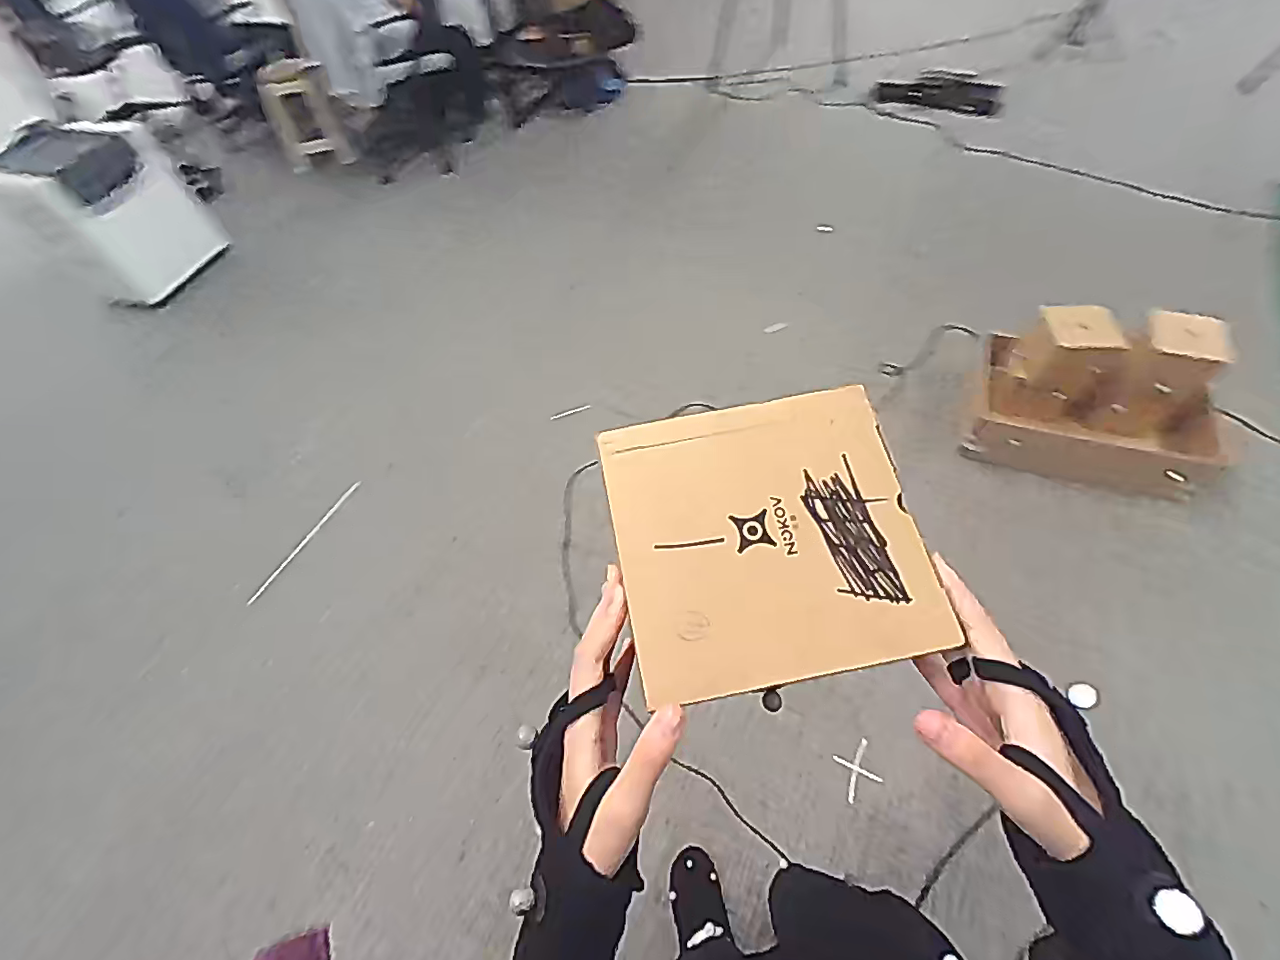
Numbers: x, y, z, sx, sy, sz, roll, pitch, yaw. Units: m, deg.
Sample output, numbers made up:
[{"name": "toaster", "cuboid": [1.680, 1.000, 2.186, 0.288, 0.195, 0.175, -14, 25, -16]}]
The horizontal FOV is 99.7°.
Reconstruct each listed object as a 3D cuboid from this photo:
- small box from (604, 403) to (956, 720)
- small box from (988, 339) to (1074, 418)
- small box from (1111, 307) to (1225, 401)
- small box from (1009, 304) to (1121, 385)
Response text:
[{"name": "small box", "cuboid": [0.076, 0.067, 0.390, 0.179, 0.176, 0.168, -10, 68, -2]}, {"name": "small box", "cuboid": [1.237, -0.318, 1.720, 0.179, 0.176, 0.168, 15, 60, 14]}, {"name": "small box", "cuboid": [1.467, -0.353, 1.518, 0.168, 0.176, 0.179, 15, 60, 17]}, {"name": "small box", "cuboid": [1.225, -0.391, 1.574, 0.179, 0.176, 0.168, 0, 58, 6]}]
